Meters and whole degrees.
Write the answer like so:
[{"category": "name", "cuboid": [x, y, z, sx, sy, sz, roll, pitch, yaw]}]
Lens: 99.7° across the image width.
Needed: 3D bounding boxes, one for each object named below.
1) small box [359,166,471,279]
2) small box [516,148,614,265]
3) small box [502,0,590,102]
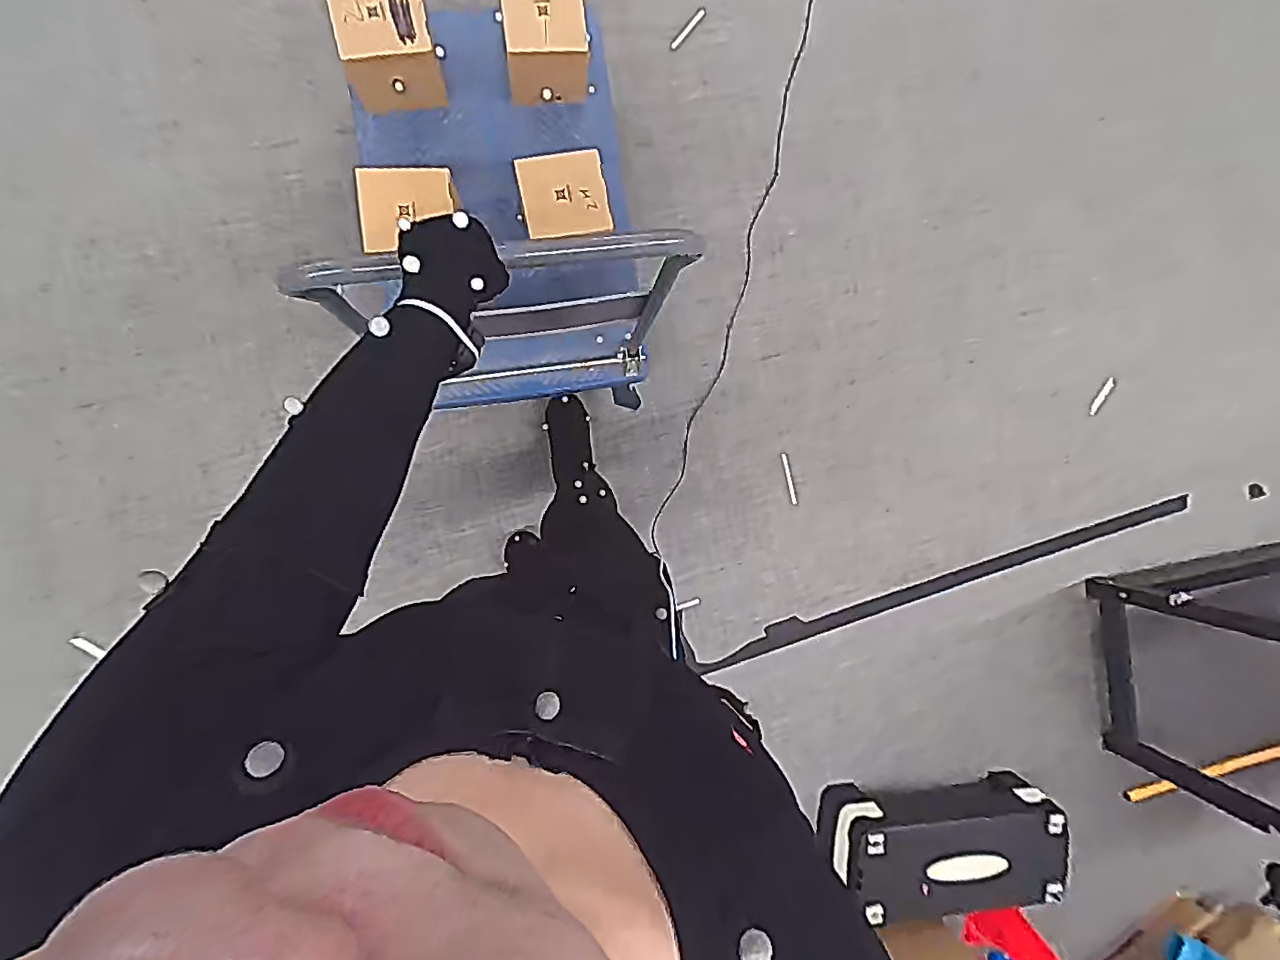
[{"category": "small box", "cuboid": [-0.463, -0.530, 1.133, 0.179, 0.176, 0.168, -6, 92, -10]}, {"category": "small box", "cuboid": [-0.161, -0.585, 1.176, 0.179, 0.176, 0.168, -12, 94, -8]}, {"category": "small box", "cuboid": [-0.203, -0.952, 1.156, 0.168, 0.176, 0.179, -7, 94, -8]}]
